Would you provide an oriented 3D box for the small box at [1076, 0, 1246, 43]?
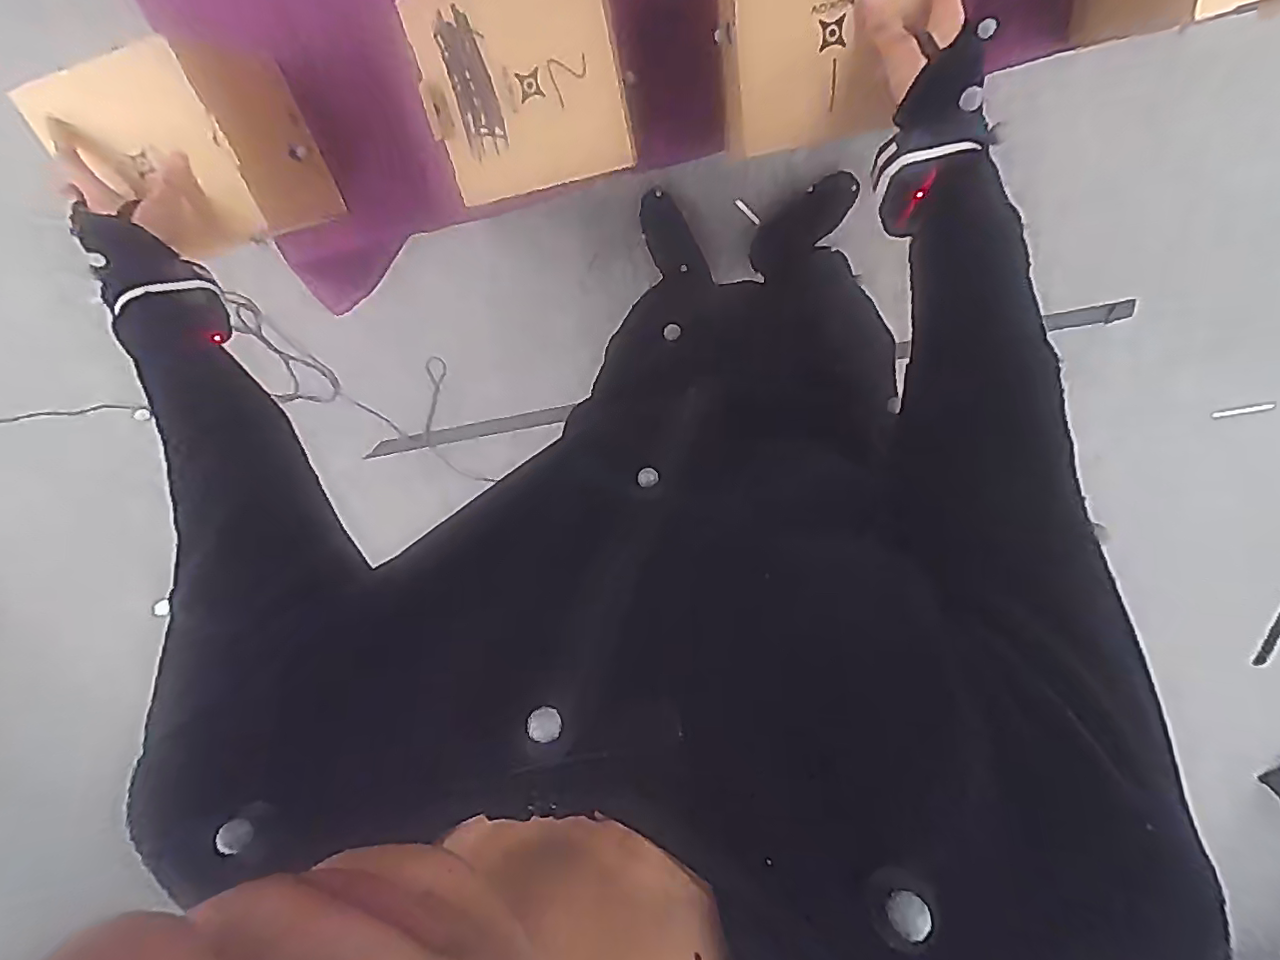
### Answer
[{"bbox_3d":[0.514,-0.511,0.456,0.168,0.176,0.179,-11,121,10],"label":"small box"}]

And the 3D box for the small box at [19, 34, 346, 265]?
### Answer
[{"bbox_3d":[-0.473,-0.352,0.597,0.179,0.176,0.168,-11,121,7],"label":"small box"}]
